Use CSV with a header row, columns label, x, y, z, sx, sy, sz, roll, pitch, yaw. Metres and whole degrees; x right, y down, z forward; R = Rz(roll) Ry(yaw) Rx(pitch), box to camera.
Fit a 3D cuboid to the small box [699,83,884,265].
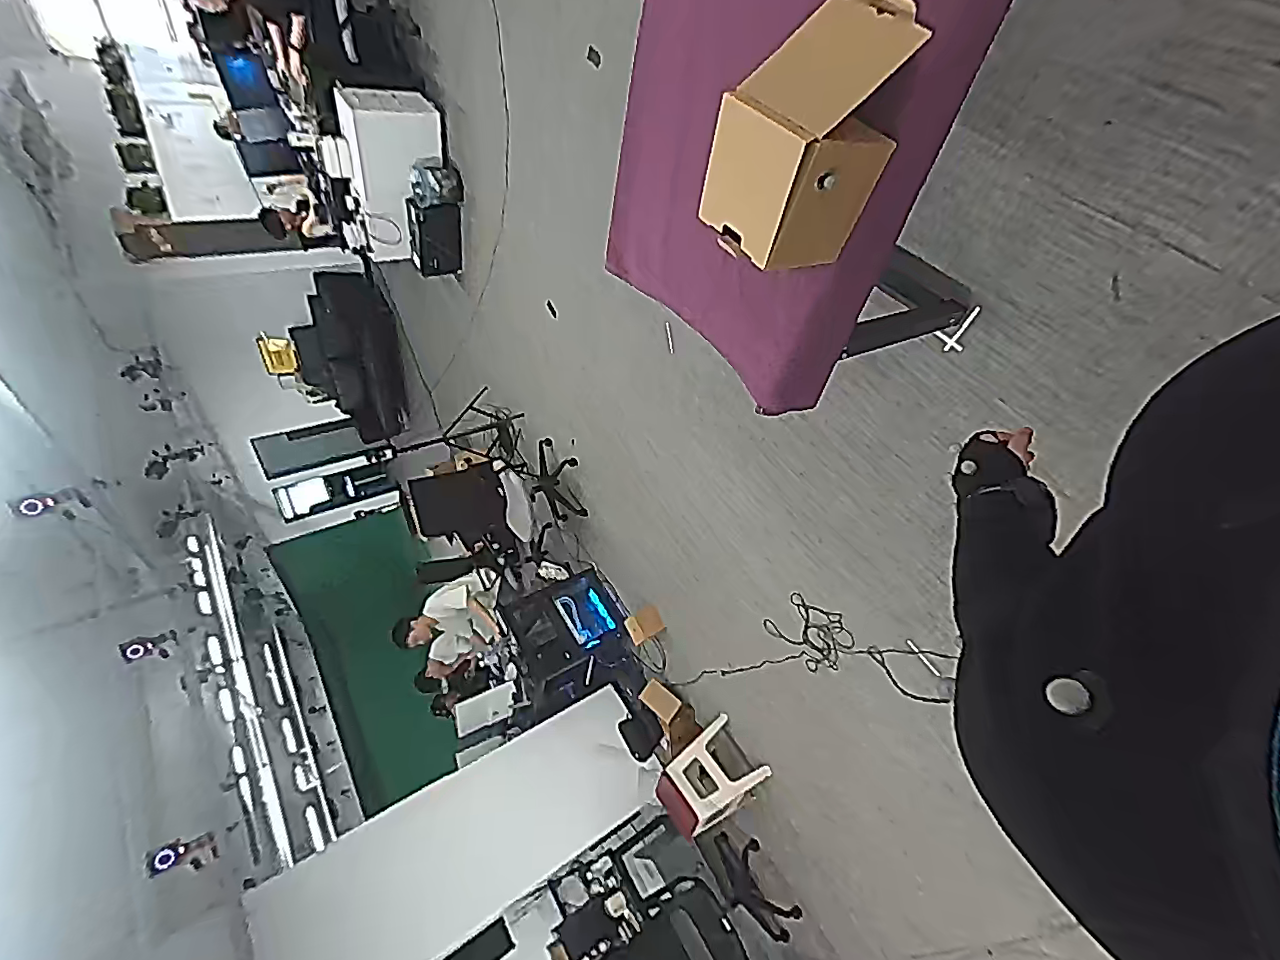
label,x,y,z,sx,sy,sz,roll,pitch,yaw
small box,0.220,-0.444,0.791,0.168,0.176,0.179,54,146,27
